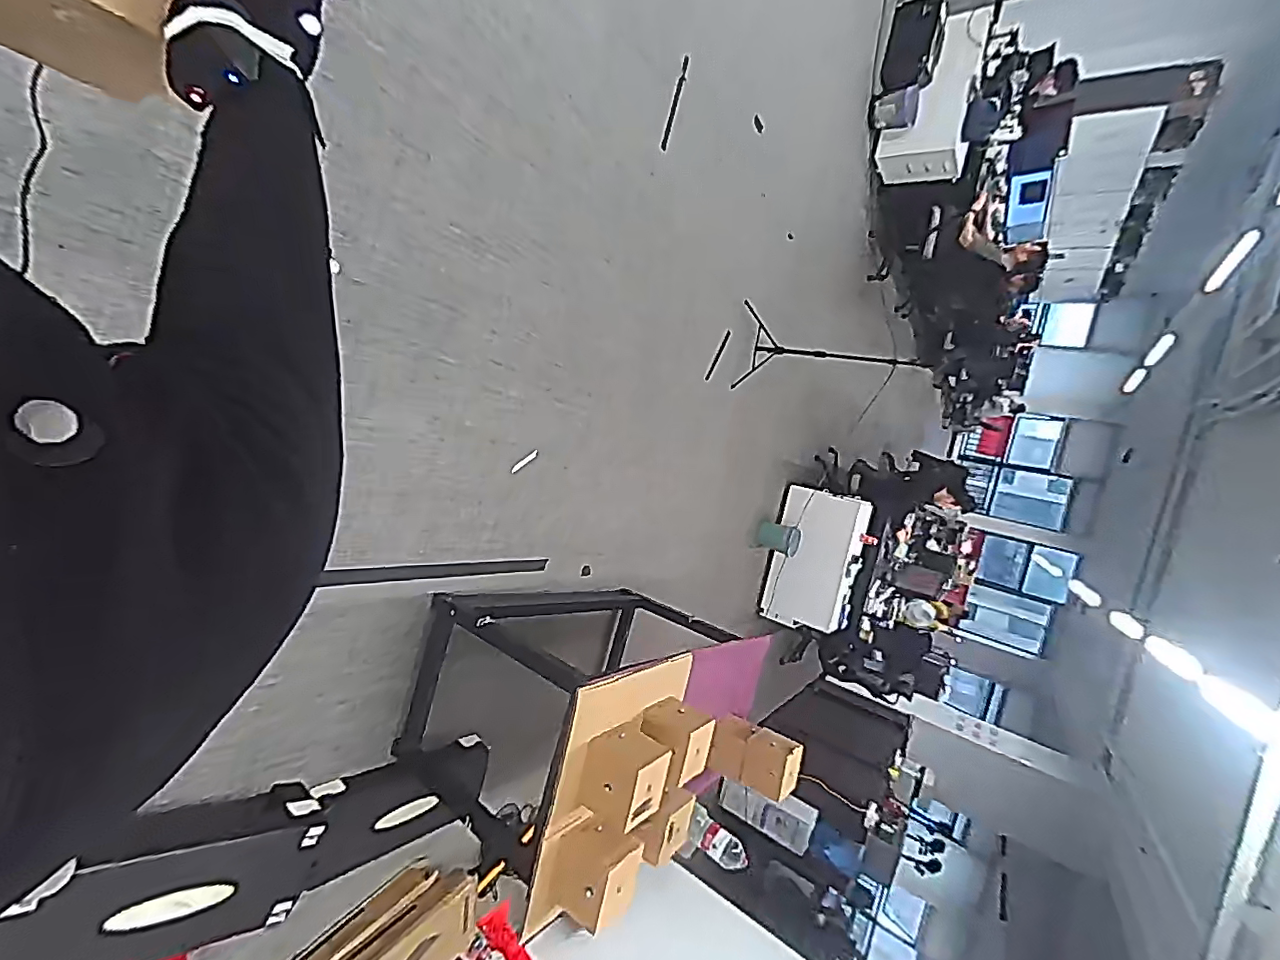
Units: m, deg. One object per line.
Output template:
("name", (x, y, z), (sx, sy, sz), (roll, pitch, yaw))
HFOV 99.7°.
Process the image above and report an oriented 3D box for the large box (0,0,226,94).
("large box", (-0.538, -0.532, 0.338), (0.408, 0.320, 0.320), (2, 106, -54))
